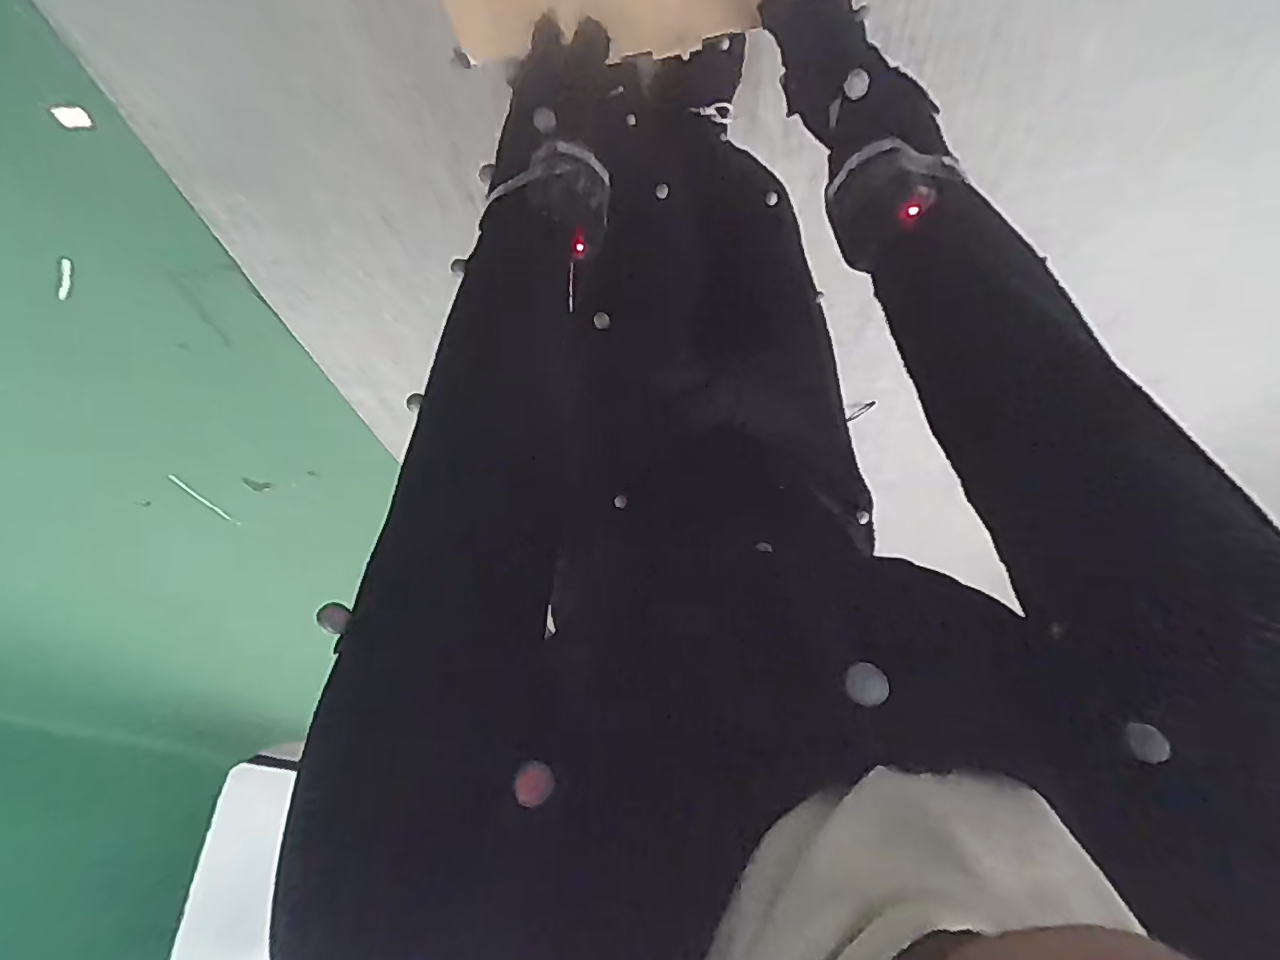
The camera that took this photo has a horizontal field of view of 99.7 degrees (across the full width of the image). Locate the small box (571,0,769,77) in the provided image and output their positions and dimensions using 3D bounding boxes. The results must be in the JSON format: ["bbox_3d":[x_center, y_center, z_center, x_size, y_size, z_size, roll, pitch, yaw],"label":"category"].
[{"bbox_3d":[0.014,-0.488,0.453,0.168,0.176,0.179,-9,147,5],"label":"small box"}]
